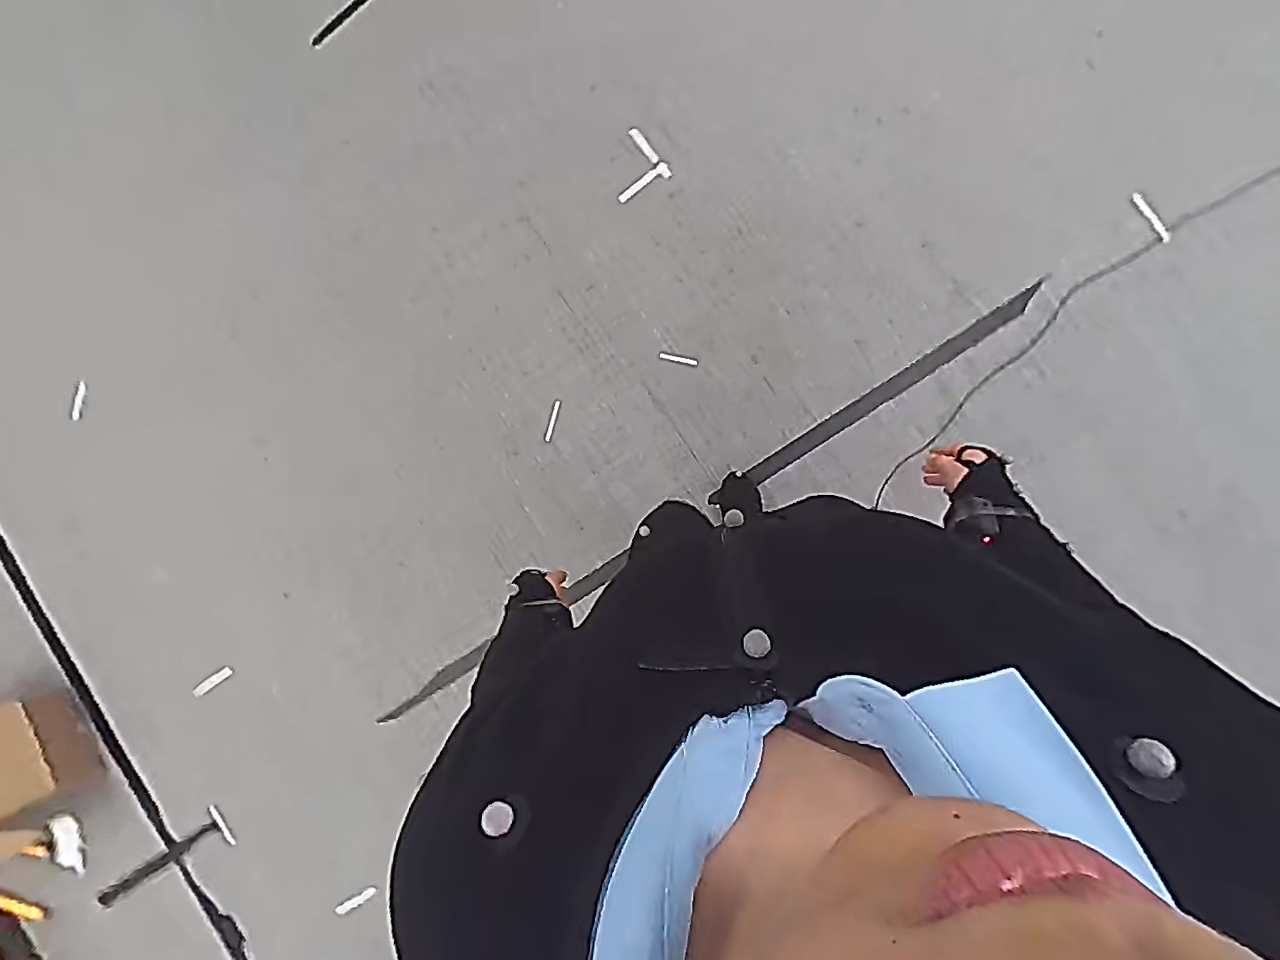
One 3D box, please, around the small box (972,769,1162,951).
[{"bbox_3d":[0.757,0.674,0.981,0.168,0.176,0.179,-35,85,6],"label":"small box"}]
